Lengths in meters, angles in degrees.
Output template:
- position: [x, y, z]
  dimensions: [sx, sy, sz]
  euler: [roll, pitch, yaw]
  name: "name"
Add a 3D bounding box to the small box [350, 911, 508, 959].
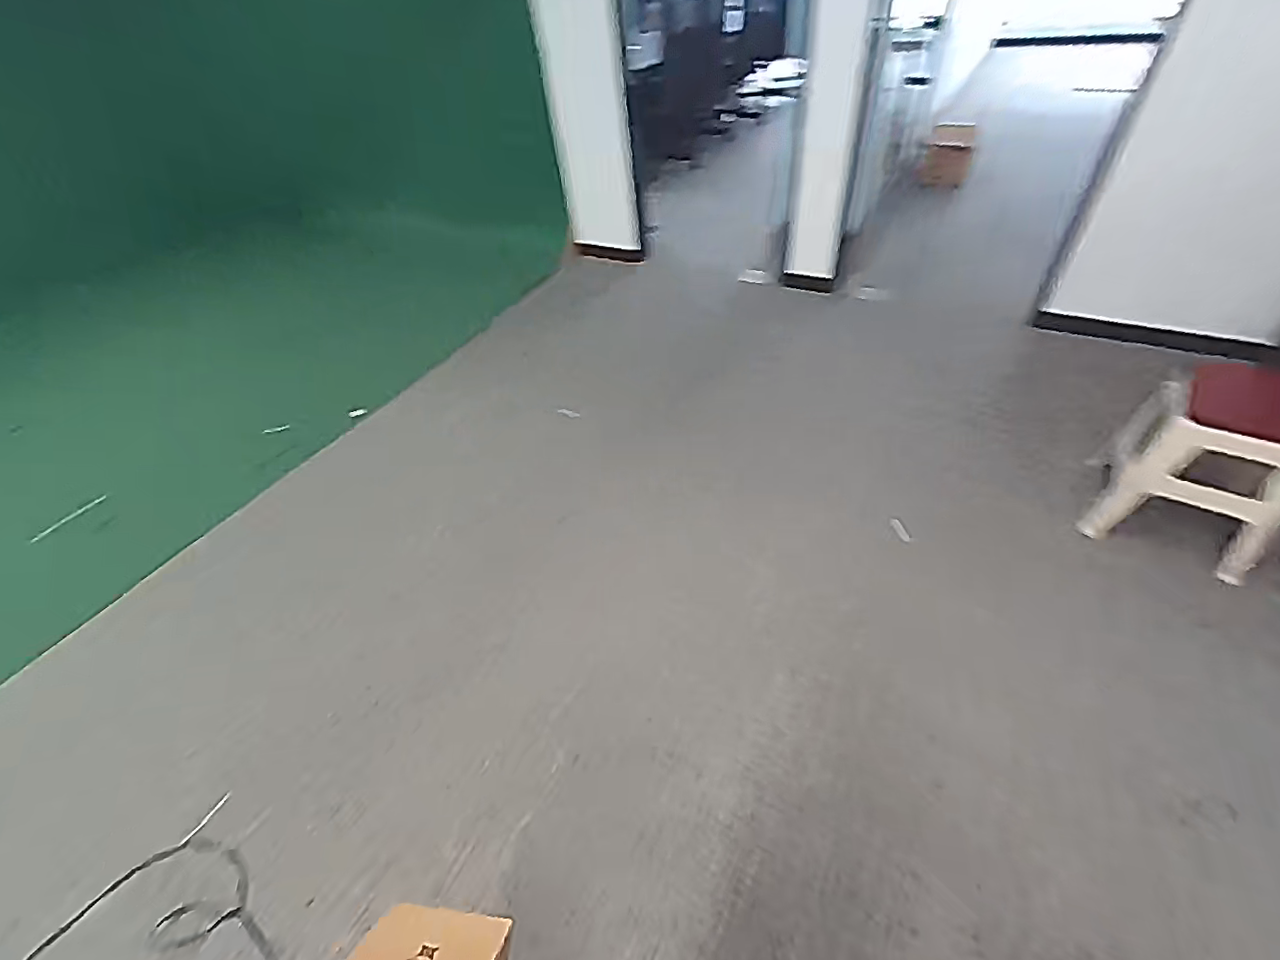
- position: [-0.267, 0.654, 0.627]
  dimensions: [0.168, 0.179, 0.176]
  euler: [4, 80, 4]
  name: "small box"
